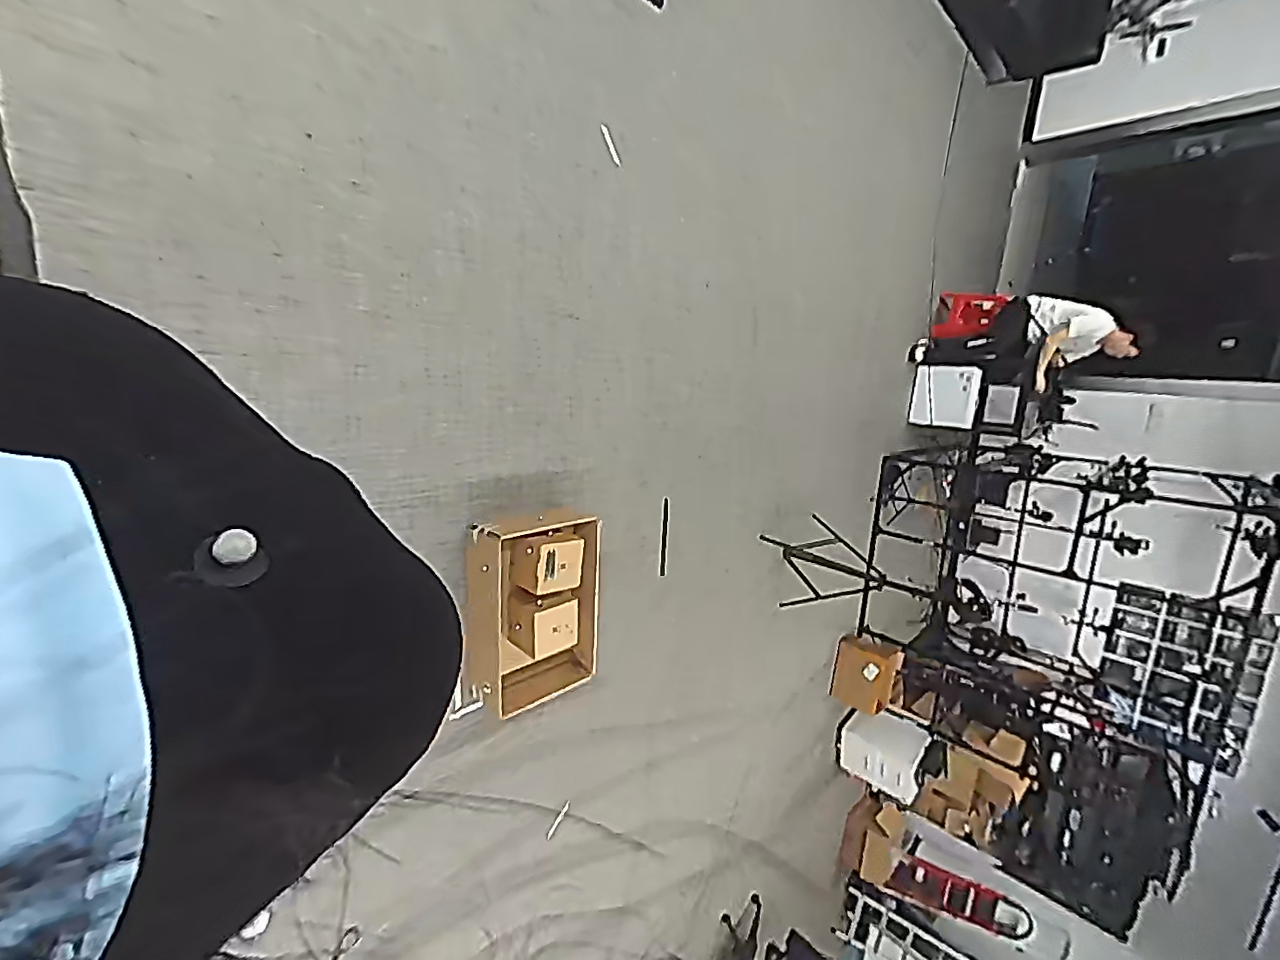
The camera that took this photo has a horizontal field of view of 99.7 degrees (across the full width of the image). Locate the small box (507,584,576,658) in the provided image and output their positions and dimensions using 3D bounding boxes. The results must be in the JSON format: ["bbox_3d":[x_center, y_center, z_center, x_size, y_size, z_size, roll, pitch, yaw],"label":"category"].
[{"bbox_3d":[-0.337,0.471,1.829,0.179,0.176,0.168,-10,108,-44],"label":"small box"}]
